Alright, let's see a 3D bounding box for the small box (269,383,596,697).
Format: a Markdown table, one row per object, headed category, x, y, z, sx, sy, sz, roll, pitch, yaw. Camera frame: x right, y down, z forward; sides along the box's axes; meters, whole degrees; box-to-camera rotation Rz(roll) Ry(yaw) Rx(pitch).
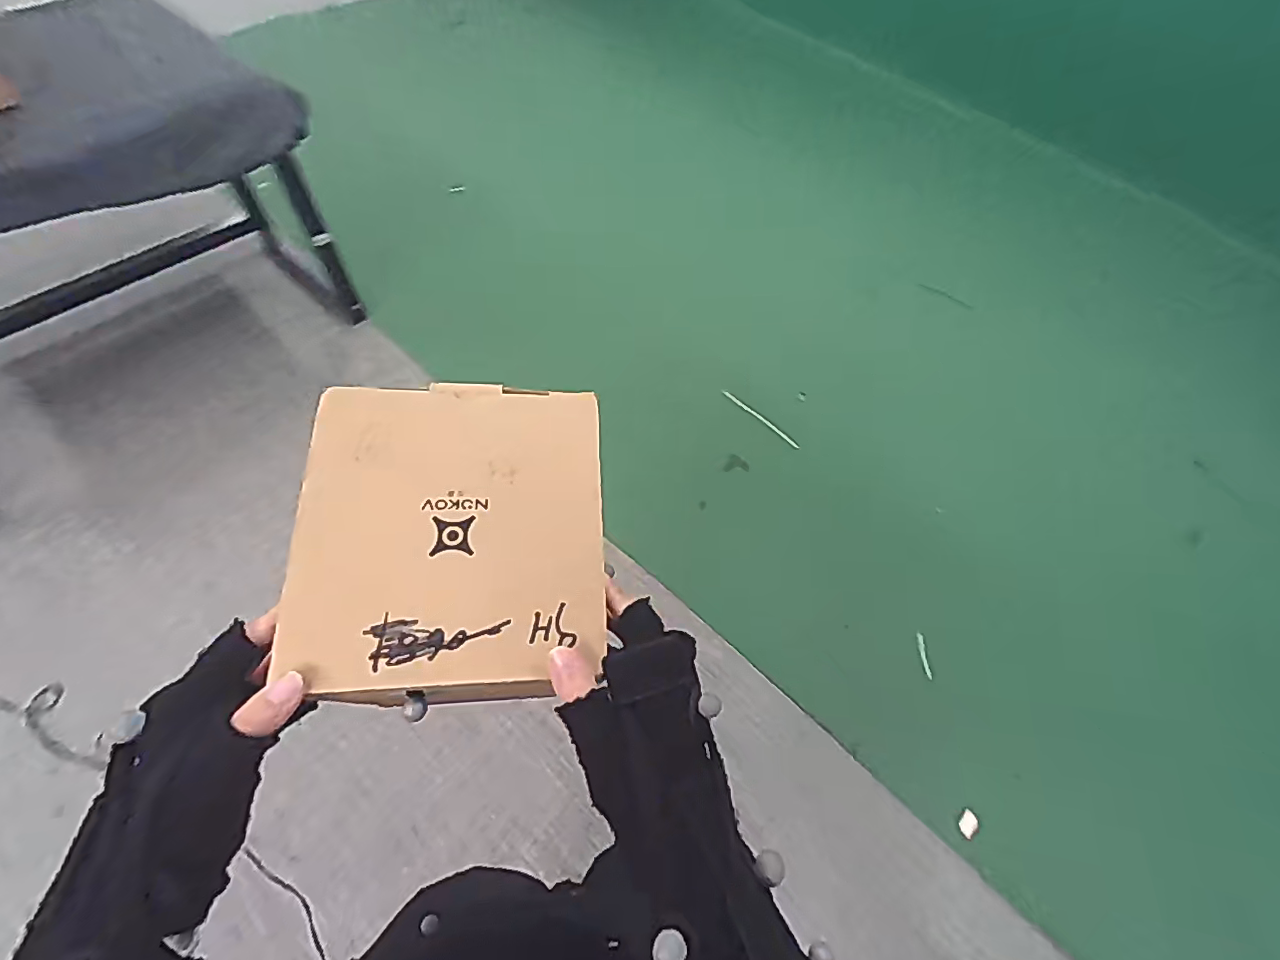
| category | x | y | z | sx | sy | sz | roll | pitch | yaw |
| --- | --- | --- | --- | --- | --- | --- | --- | --- | --- |
| small box | -0.121 | 0.051 | 0.387 | 0.168 | 0.176 | 0.179 | -1 | 65 | -8 |
